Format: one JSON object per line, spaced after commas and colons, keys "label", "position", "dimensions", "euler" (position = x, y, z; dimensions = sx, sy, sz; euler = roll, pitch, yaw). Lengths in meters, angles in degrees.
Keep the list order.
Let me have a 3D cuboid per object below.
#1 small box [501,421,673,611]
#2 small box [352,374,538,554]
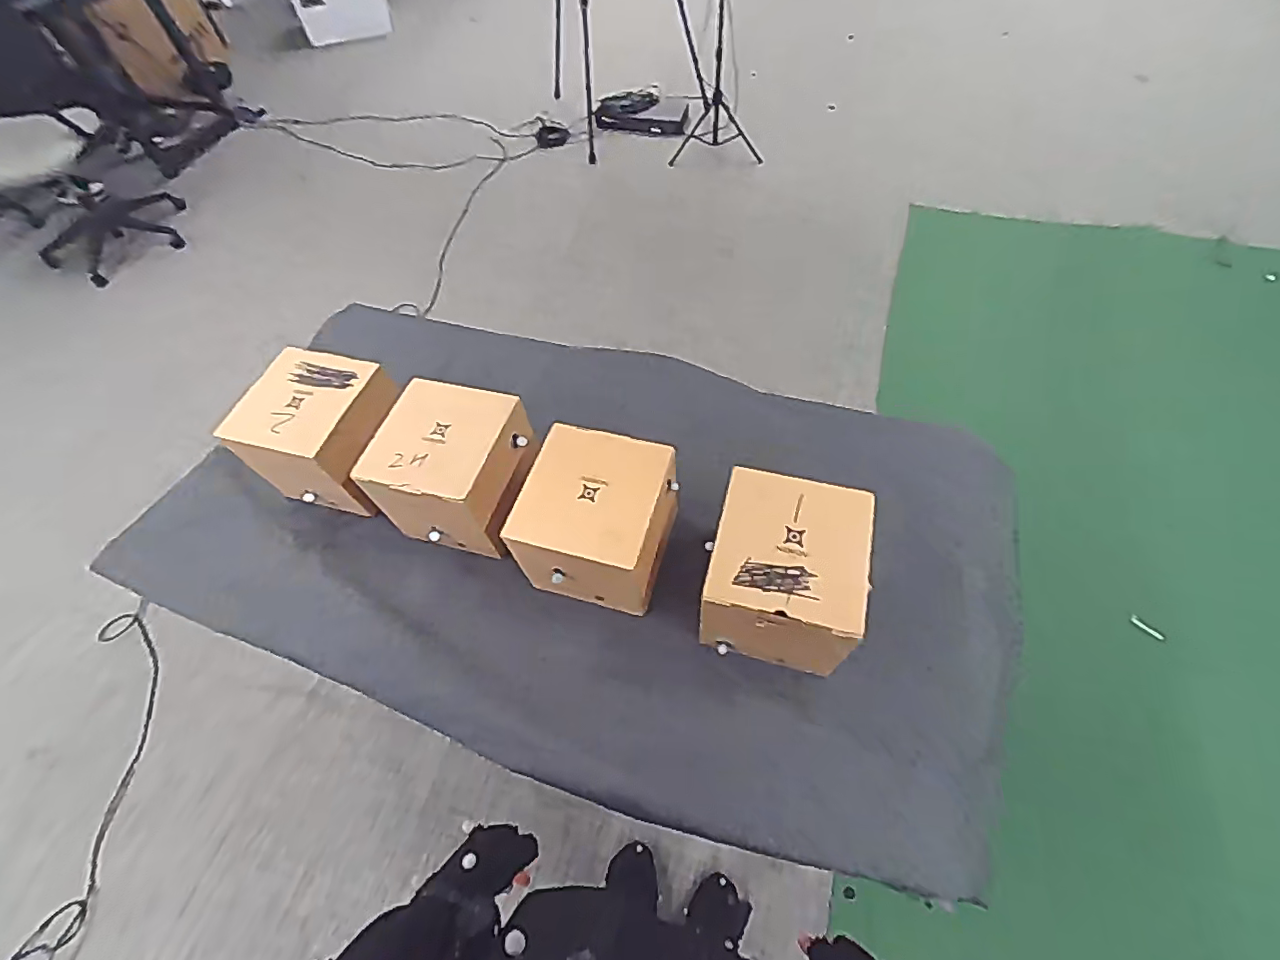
{"label": "small box", "position": [-0.054, 0.052, 0.713], "dimensions": [0.168, 0.176, 0.179], "euler": [13, 59, 12]}
{"label": "small box", "position": [-0.258, -0.020, 0.772], "dimensions": [0.168, 0.176, 0.179], "euler": [12, 60, 12]}
